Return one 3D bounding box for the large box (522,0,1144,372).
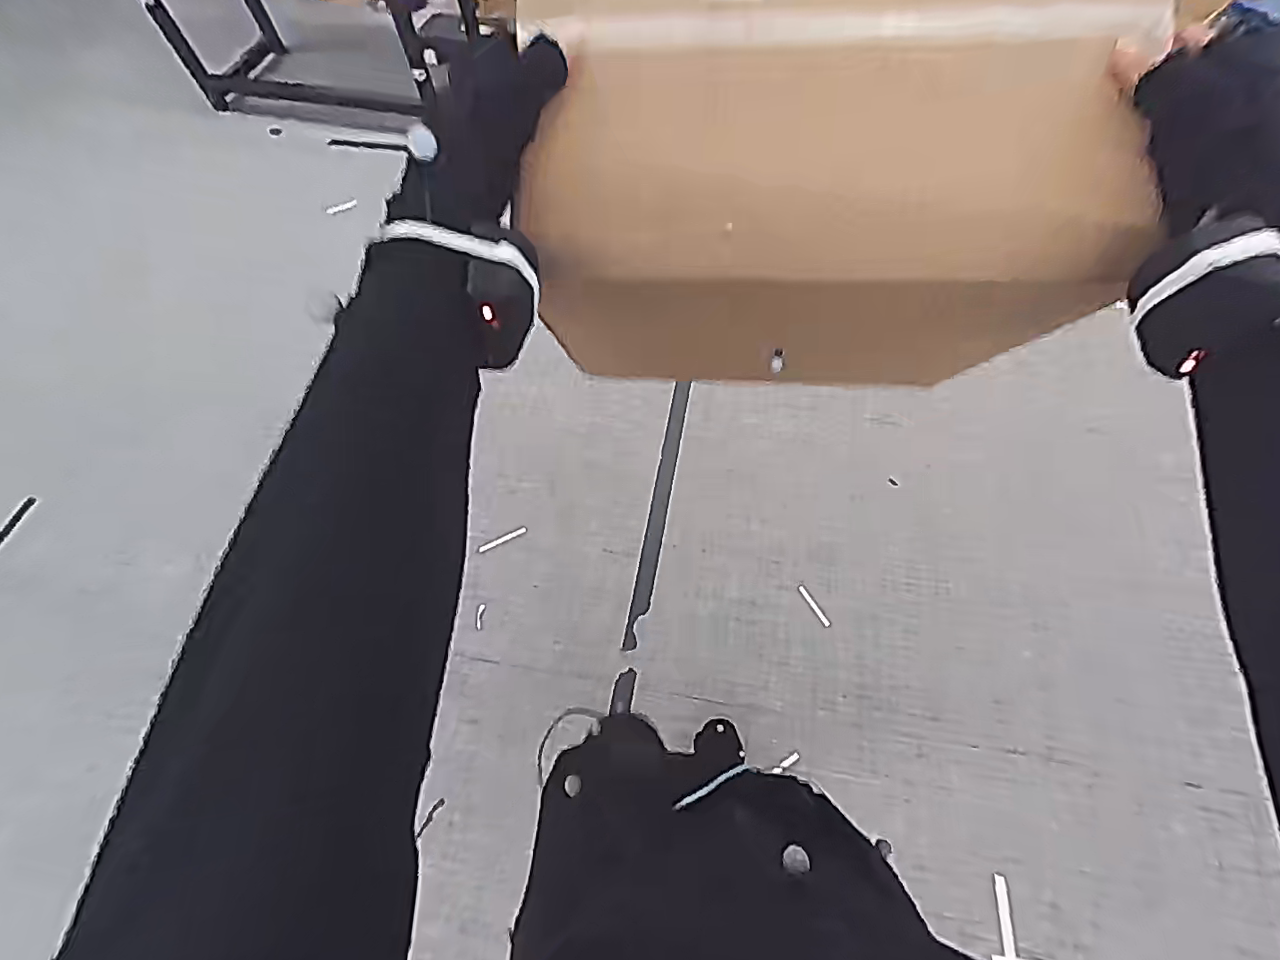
[{"bbox_3d":[0.134,-0.283,0.508,0.408,0.320,0.320,2,88,6],"label":"large box"}]
